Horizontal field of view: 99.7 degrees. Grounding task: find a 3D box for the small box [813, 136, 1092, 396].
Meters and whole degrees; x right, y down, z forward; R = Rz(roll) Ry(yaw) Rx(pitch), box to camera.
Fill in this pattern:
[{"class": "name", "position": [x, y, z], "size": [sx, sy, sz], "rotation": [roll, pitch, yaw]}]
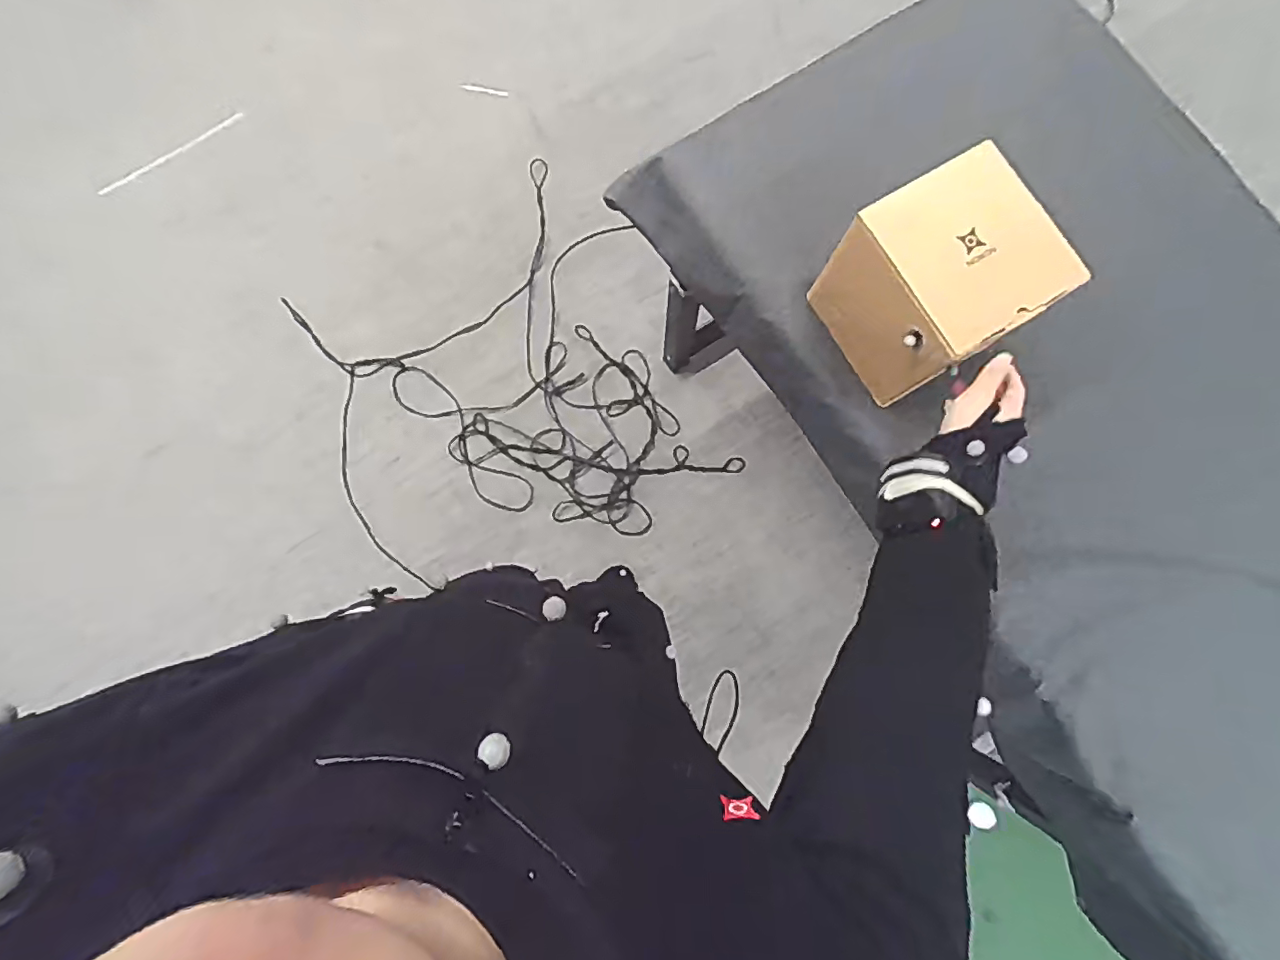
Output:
[{"class": "small box", "position": [0.324, -0.222, 0.604], "size": [0.168, 0.176, 0.179], "rotation": [-30, 83, -5]}]
